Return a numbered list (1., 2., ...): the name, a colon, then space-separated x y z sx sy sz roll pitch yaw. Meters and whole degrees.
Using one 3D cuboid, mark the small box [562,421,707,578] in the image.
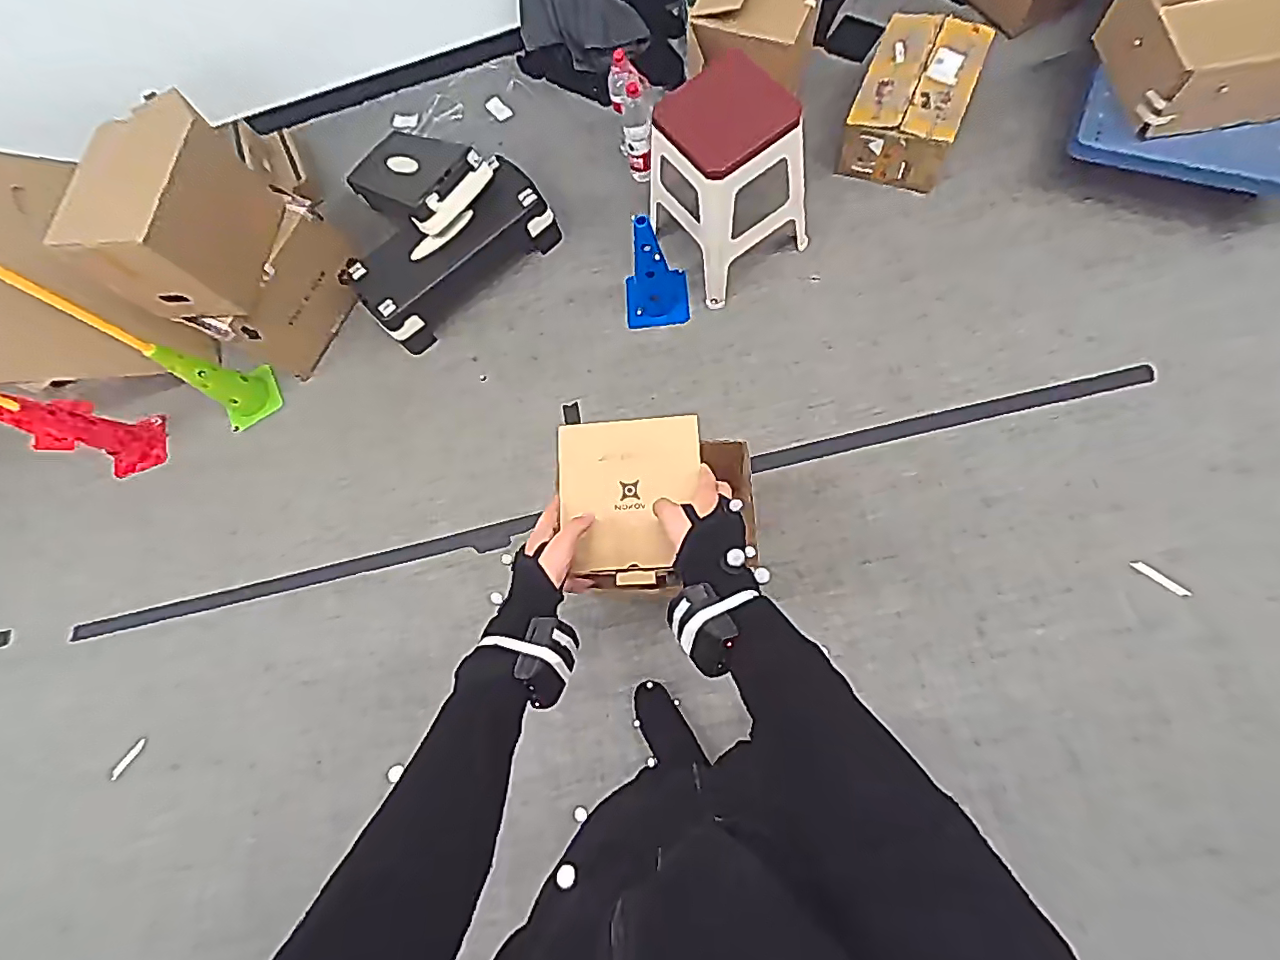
1. small box: 0.000 0.033 0.696 0.168 0.176 0.179 -3 79 5
